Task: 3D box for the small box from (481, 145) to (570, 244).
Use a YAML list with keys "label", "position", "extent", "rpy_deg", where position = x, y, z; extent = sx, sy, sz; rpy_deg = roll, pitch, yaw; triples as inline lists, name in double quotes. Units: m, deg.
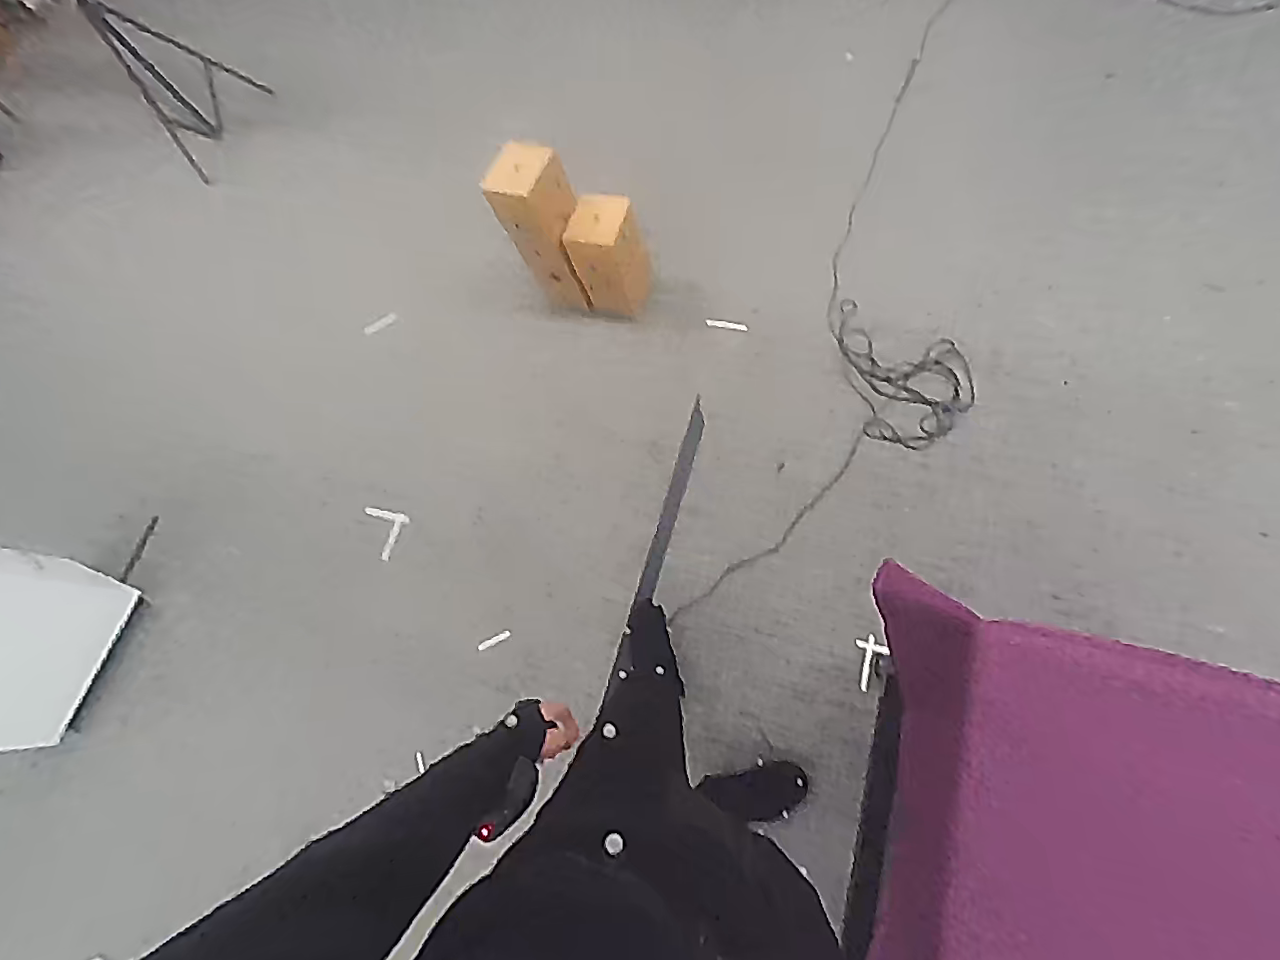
- label: "small box"
  position: [-0.322, -0.826, 1.569]
  extent: [0.168, 0.176, 0.179]
  rpy_deg: [21, 76, 20]
